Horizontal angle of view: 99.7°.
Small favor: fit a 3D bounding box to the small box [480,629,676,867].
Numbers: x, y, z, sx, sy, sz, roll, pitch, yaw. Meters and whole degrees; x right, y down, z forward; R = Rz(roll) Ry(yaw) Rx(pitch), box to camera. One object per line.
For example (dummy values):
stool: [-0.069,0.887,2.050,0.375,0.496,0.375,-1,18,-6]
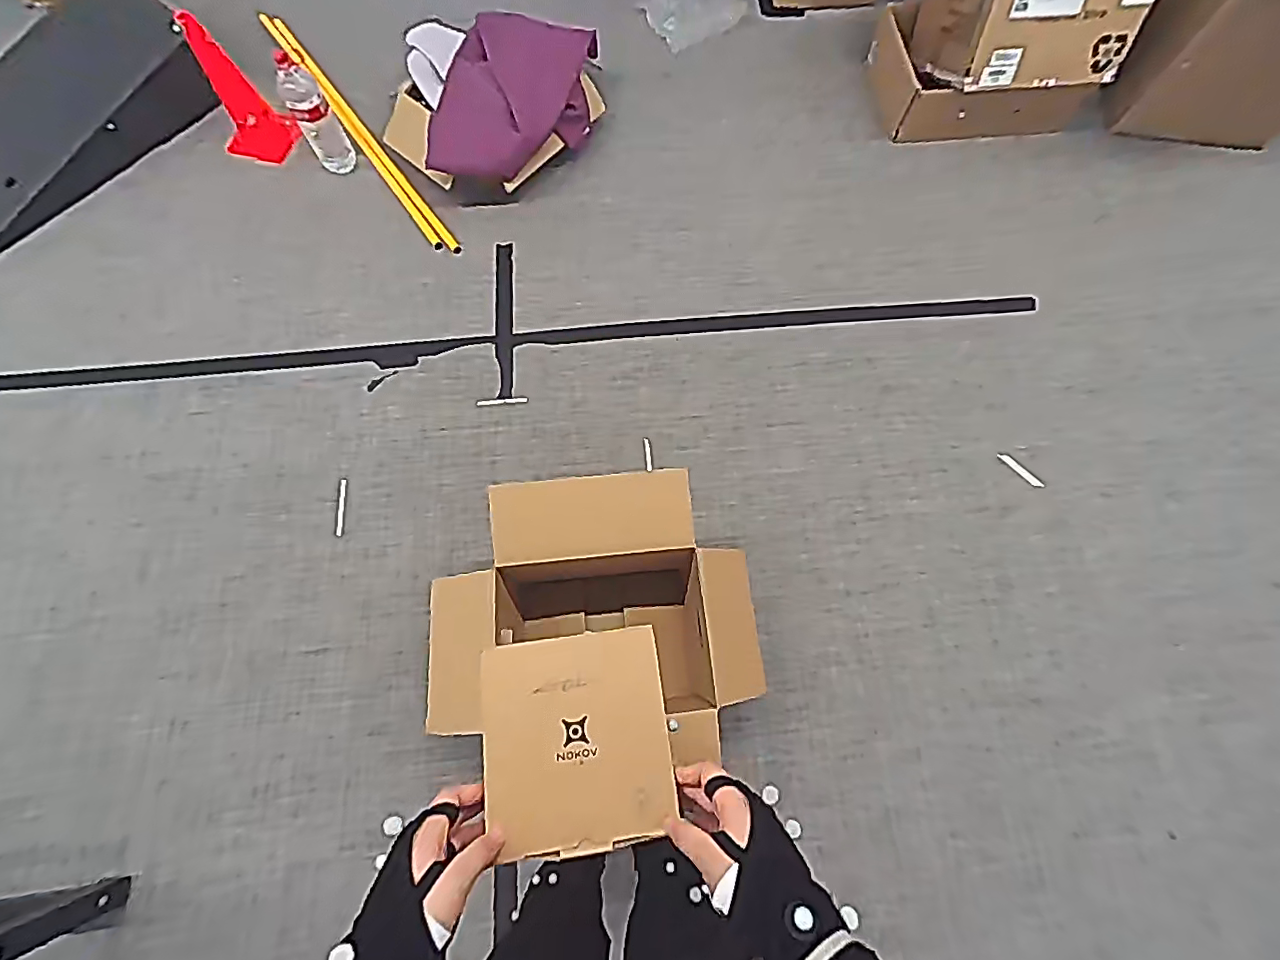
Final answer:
small box: [-0.061,0.262,0.556,0.168,0.176,0.179,-7,67,-5]
